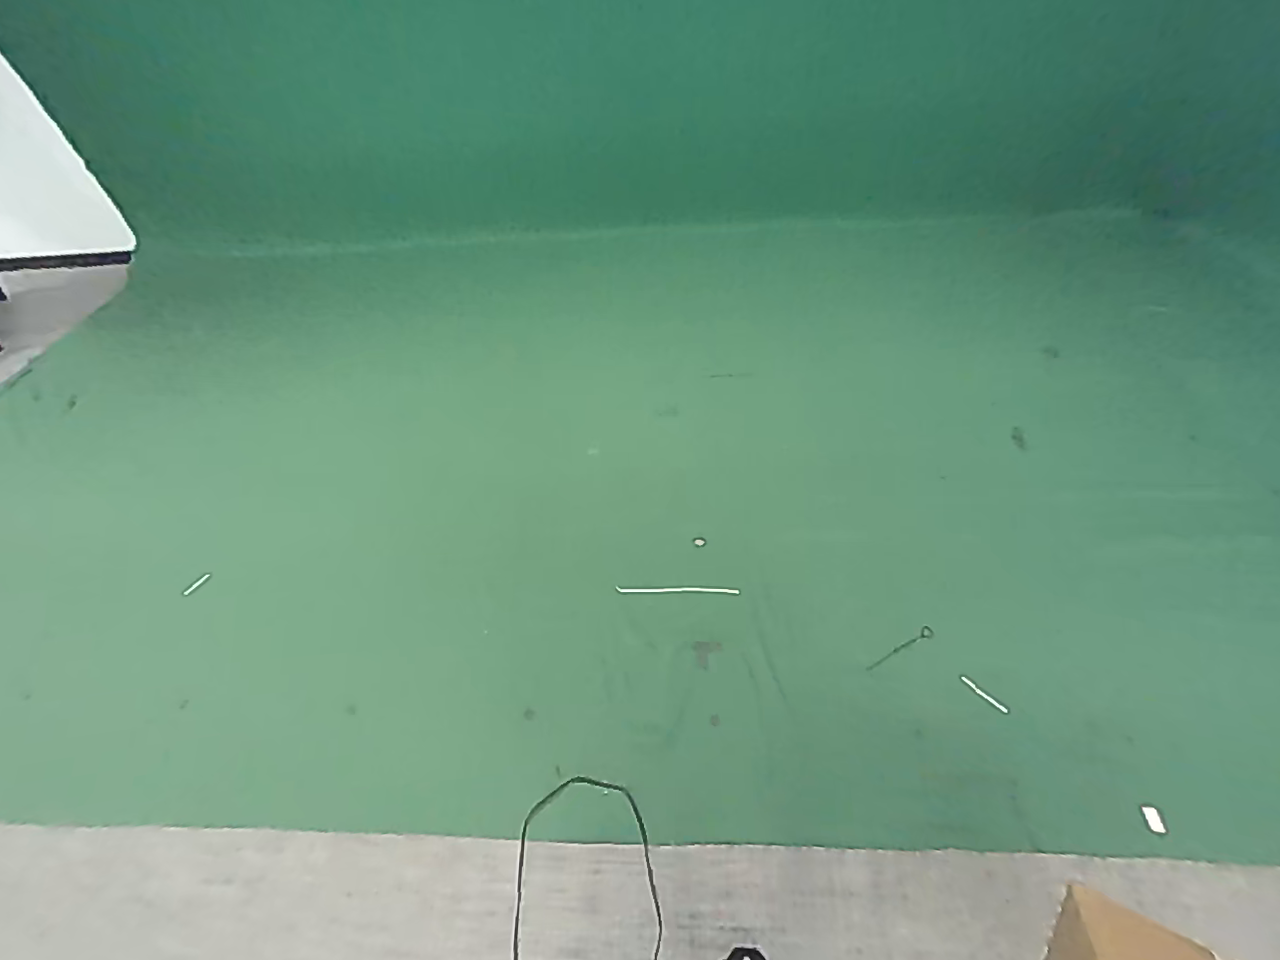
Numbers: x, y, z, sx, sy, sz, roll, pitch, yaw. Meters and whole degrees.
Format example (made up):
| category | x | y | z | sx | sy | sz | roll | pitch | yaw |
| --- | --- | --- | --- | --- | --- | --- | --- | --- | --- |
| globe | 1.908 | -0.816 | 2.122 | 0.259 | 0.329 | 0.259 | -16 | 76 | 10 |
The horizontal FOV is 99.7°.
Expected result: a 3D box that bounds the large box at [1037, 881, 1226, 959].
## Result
| category | x | y | z | sx | sy | sz | roll | pitch | yaw |
| --- | --- | --- | --- | --- | --- | --- | --- | --- | --- |
| large box | 0.599 | 0.742 | 0.538 | 0.320 | 0.408 | 0.320 | 20 | 94 | 29 |
